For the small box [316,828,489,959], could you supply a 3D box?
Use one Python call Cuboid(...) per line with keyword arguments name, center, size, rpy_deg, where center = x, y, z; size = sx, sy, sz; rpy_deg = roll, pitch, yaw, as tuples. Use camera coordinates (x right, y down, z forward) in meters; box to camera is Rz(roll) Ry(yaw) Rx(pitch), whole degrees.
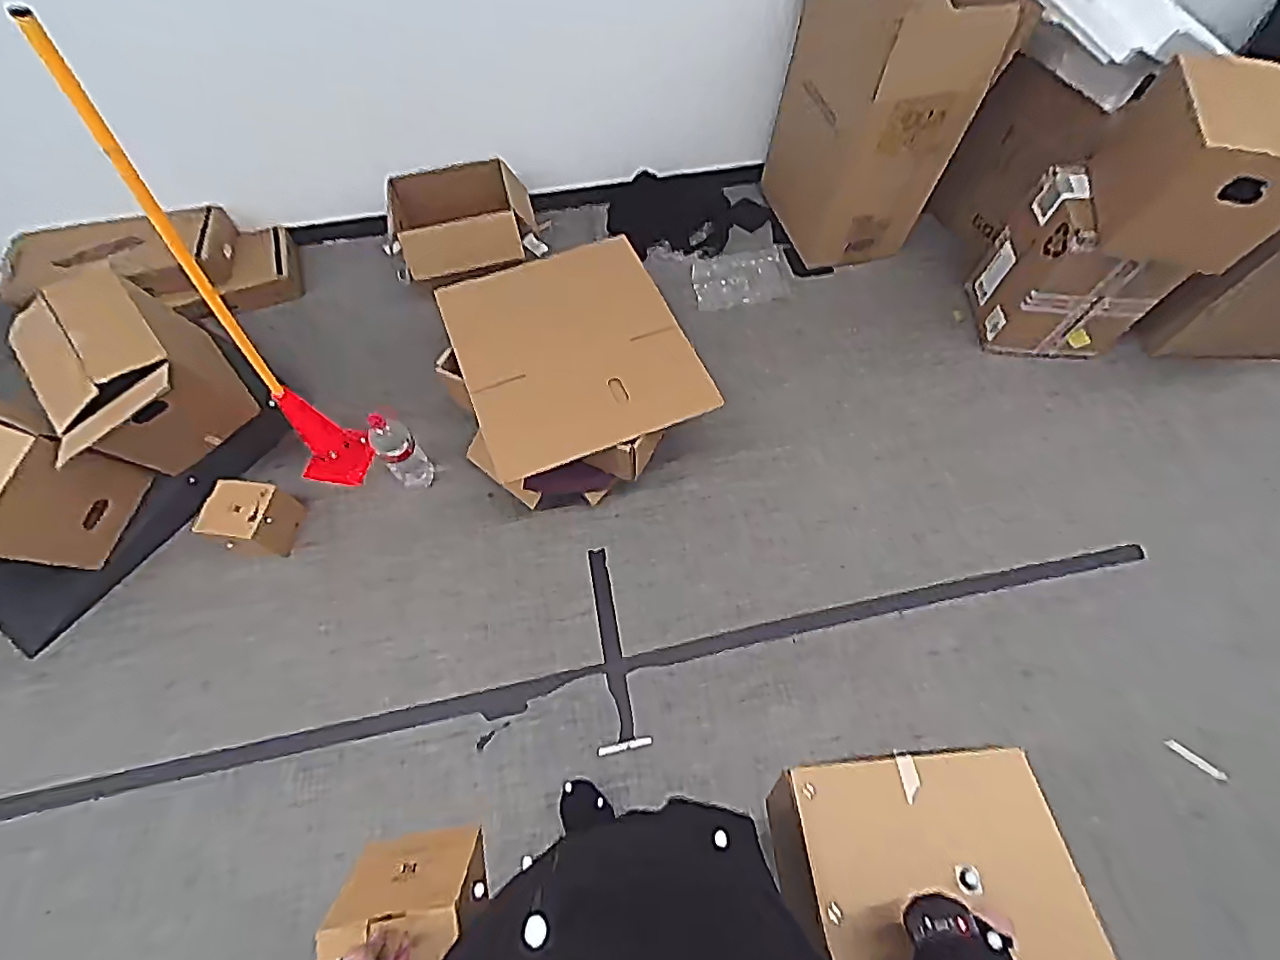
Cuboid(name="small box", center=(-0.306, 0.621, 0.734), size=(0.168, 0.179, 0.176), rpy_deg=(-6, 87, -7))
